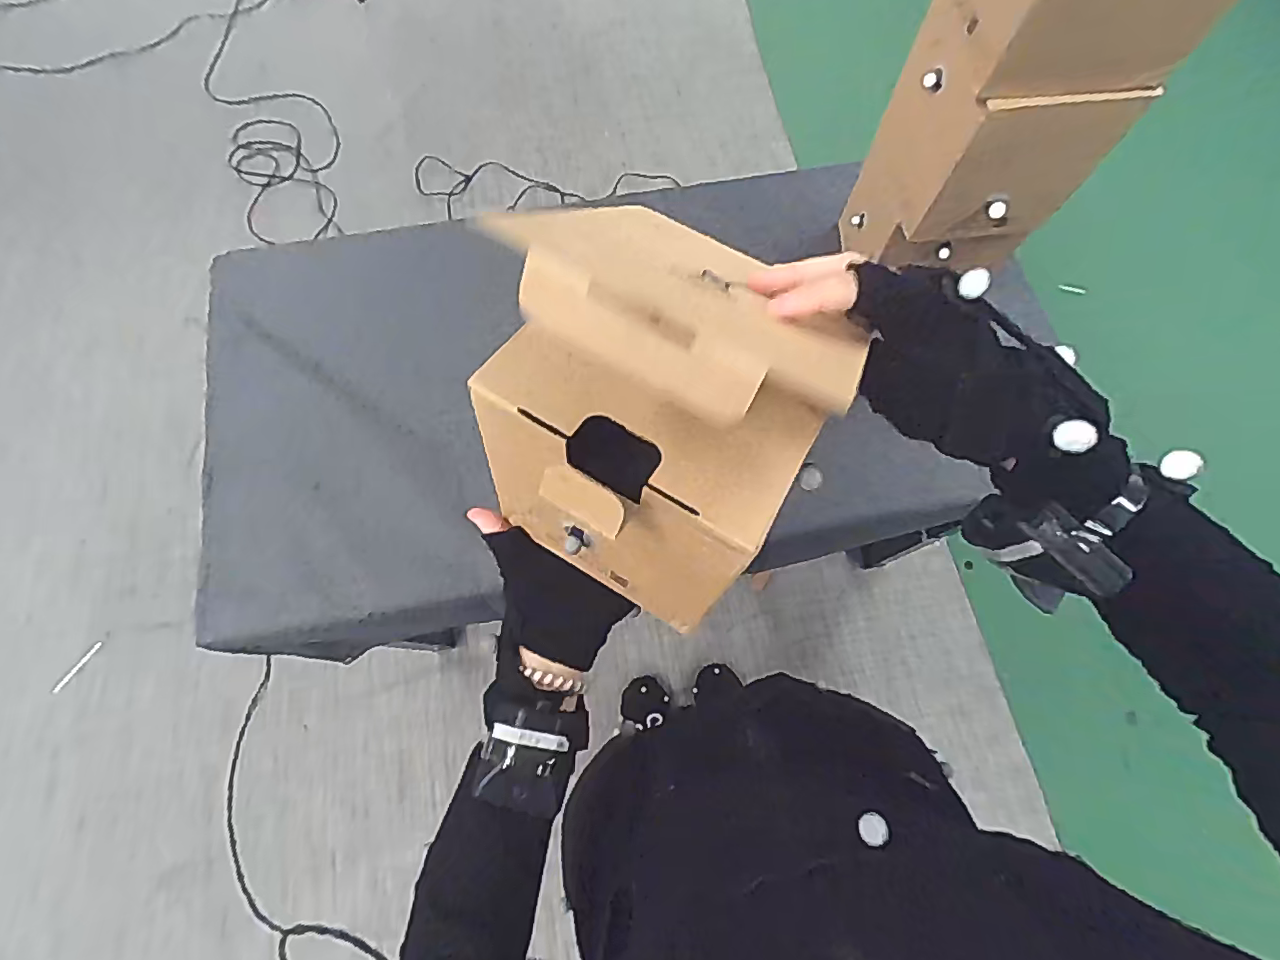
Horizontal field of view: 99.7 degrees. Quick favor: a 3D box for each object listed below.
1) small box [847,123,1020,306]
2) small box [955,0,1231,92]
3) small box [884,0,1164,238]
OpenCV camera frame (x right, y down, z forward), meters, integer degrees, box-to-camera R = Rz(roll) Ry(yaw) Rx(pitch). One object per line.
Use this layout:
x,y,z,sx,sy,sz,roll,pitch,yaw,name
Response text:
0.402,-0.363,0.756,0.179,0.176,0.168,1,71,1,small box
0.388,-0.454,0.442,0.179,0.176,0.168,-2,72,0,small box
0.394,-0.399,0.596,0.168,0.176,0.179,-5,72,-1,small box
